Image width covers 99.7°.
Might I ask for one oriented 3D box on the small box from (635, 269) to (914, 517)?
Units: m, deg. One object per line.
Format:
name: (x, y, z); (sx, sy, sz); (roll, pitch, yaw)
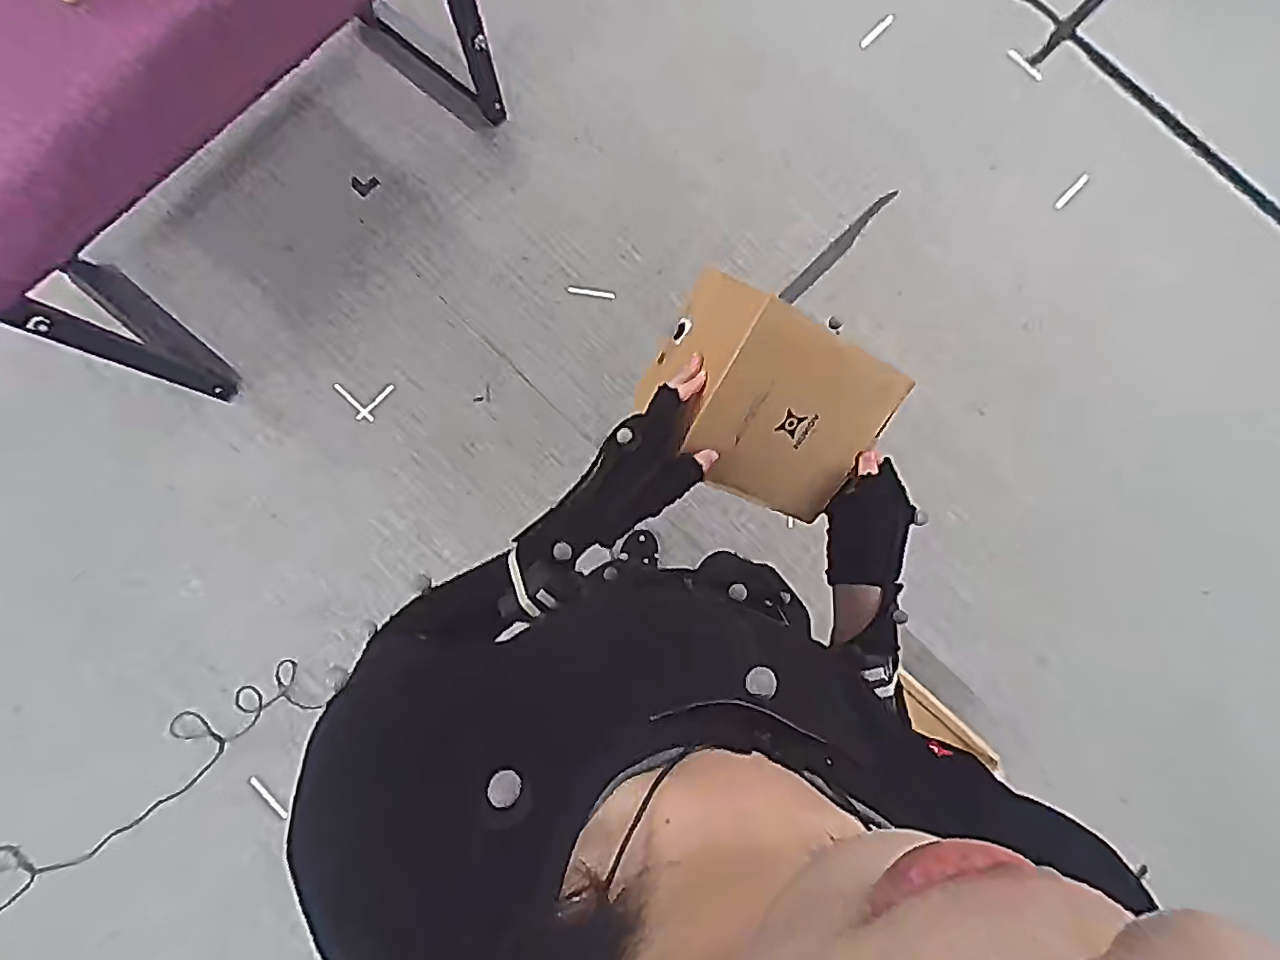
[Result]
small box: (0.116, -0.093, 0.539); (0.179, 0.176, 0.168); (19, 111, -22)
